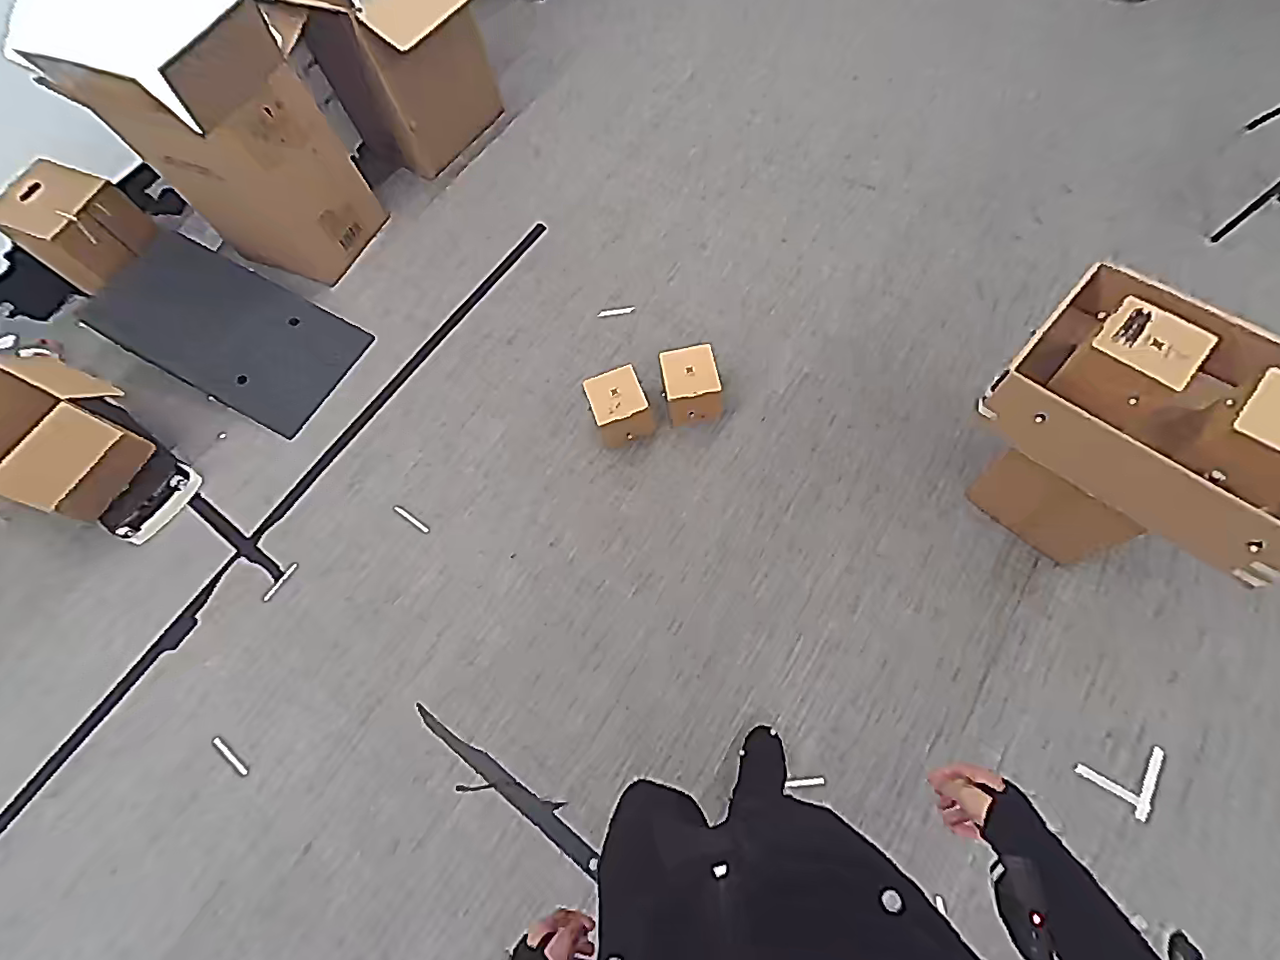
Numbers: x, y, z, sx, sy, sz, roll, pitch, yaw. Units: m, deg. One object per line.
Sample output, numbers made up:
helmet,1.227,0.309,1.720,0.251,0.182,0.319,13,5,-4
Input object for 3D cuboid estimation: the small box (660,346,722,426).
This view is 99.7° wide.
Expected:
small box,0.162,-0.296,1.733,0.168,0.176,0.179,-11,67,2

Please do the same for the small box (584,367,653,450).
small box,-0.065,-0.225,1.728,0.168,0.176,0.179,-21,66,-1

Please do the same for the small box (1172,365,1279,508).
small box,1.200,-0.079,1.041,0.168,0.176,0.179,39,73,22
